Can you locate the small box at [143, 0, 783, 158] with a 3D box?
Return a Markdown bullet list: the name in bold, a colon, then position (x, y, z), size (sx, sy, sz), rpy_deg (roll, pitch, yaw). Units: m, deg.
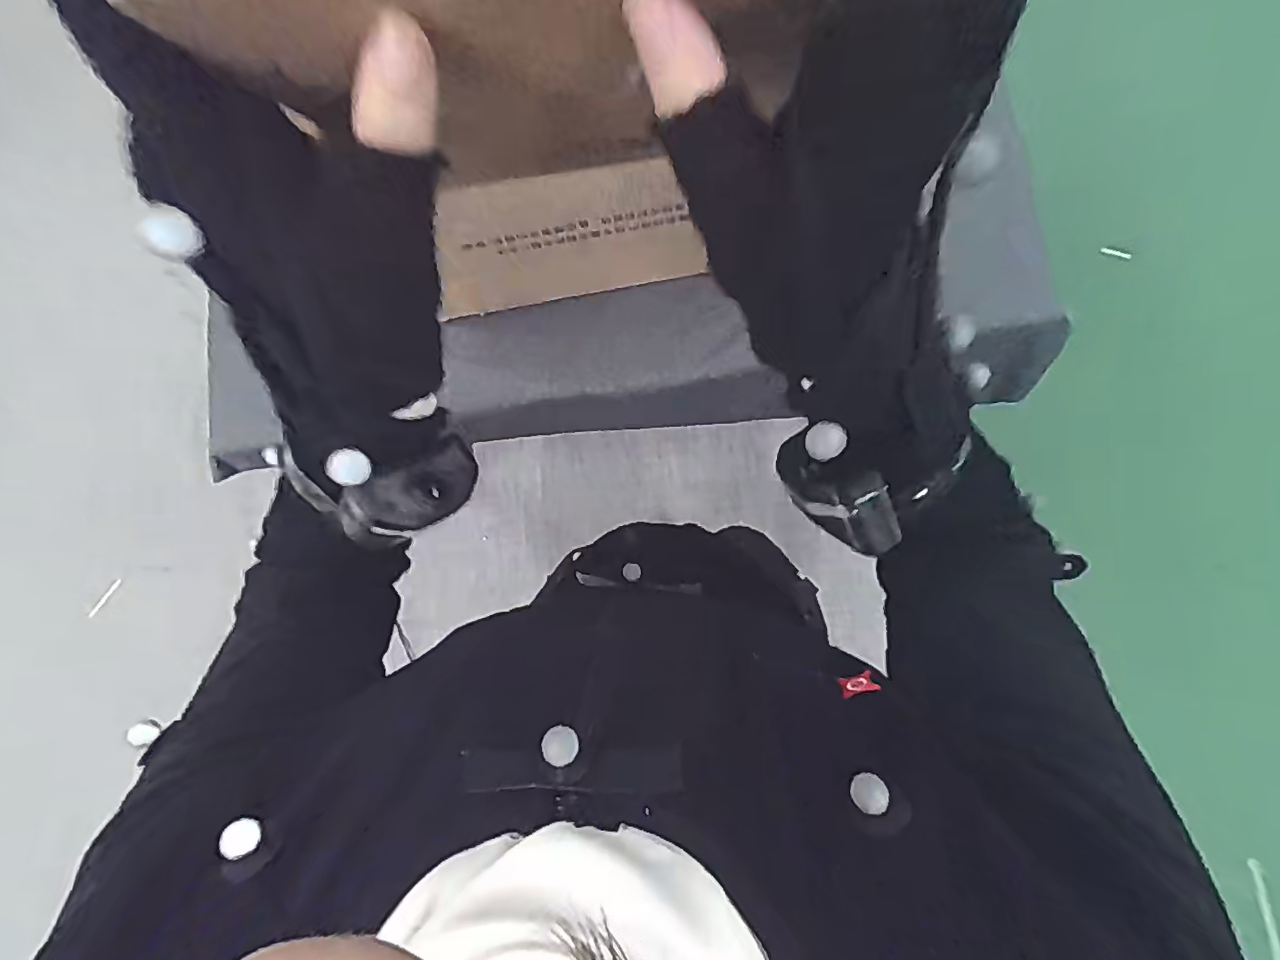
- **small box**: position (-0.041, -0.215, 0.156), size (0.168, 0.176, 0.179), rpy_deg (-5, 103, 4)
